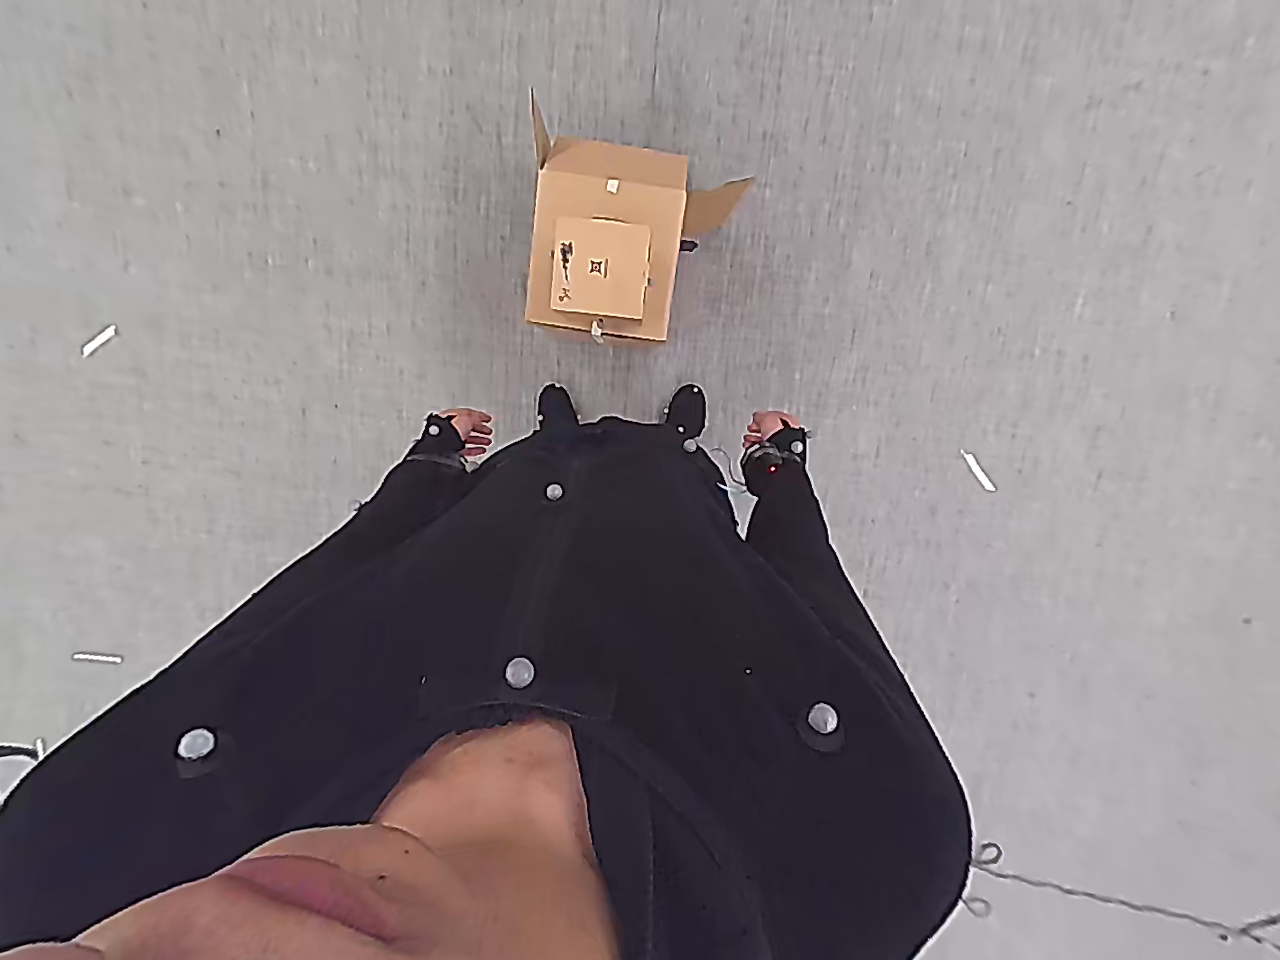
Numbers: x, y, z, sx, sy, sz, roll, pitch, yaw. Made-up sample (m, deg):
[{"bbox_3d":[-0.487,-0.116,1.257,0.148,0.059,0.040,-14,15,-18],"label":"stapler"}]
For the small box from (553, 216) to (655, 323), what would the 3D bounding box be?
[{"bbox_3d":[-0.069,-0.410,1.078,0.179,0.176,0.168,7,103,-2],"label":"small box"}]
